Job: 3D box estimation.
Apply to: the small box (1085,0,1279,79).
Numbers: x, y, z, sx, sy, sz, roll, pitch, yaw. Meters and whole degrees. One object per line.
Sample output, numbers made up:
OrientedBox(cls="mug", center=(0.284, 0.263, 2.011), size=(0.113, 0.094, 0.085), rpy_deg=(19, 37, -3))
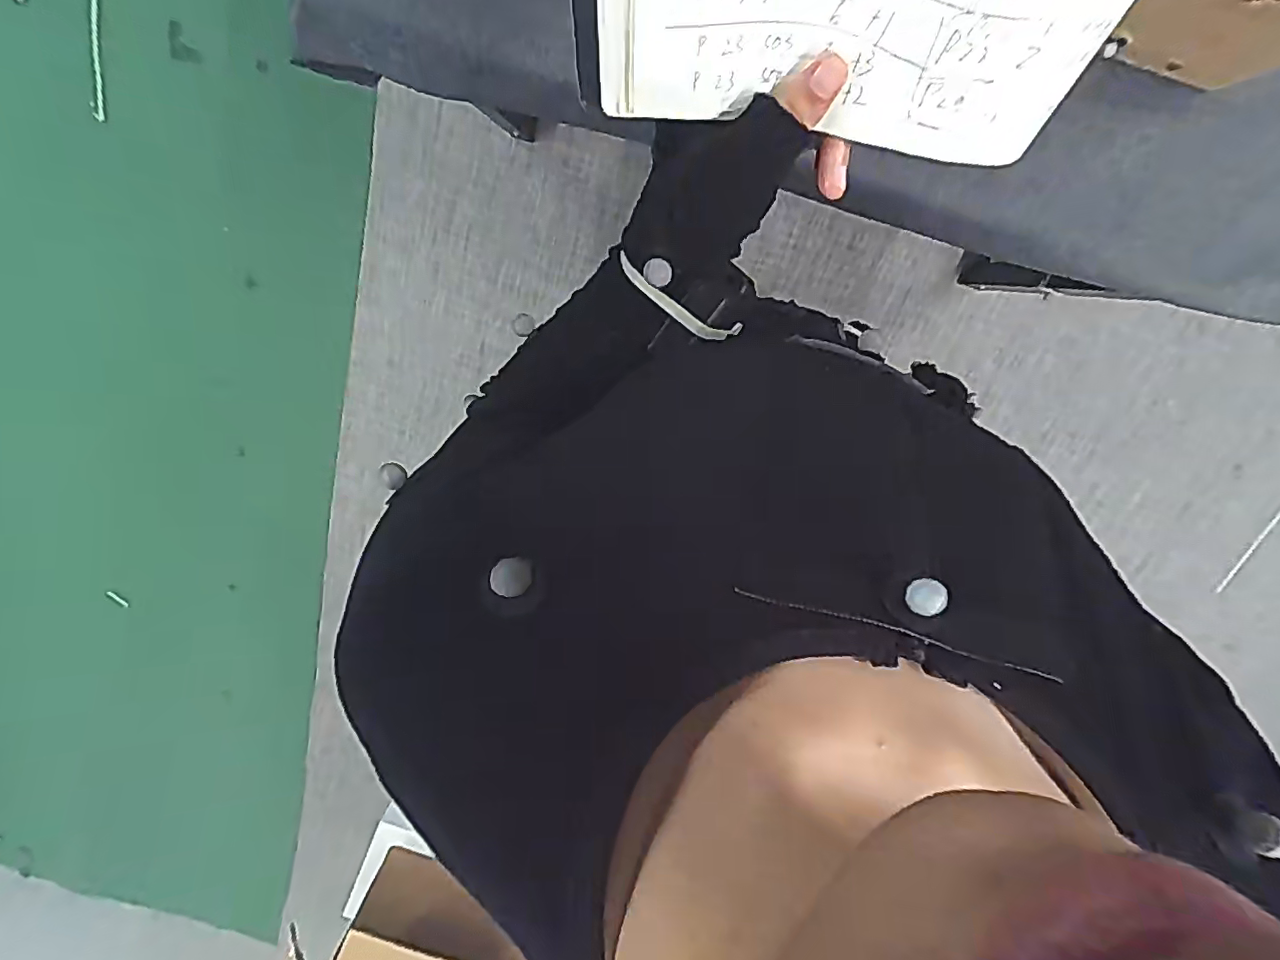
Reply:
OrientedBox(cls="small box", center=(0.531, -0.476, 0.449), size=(0.168, 0.176, 0.179), rpy_deg=(16, 110, -2))
